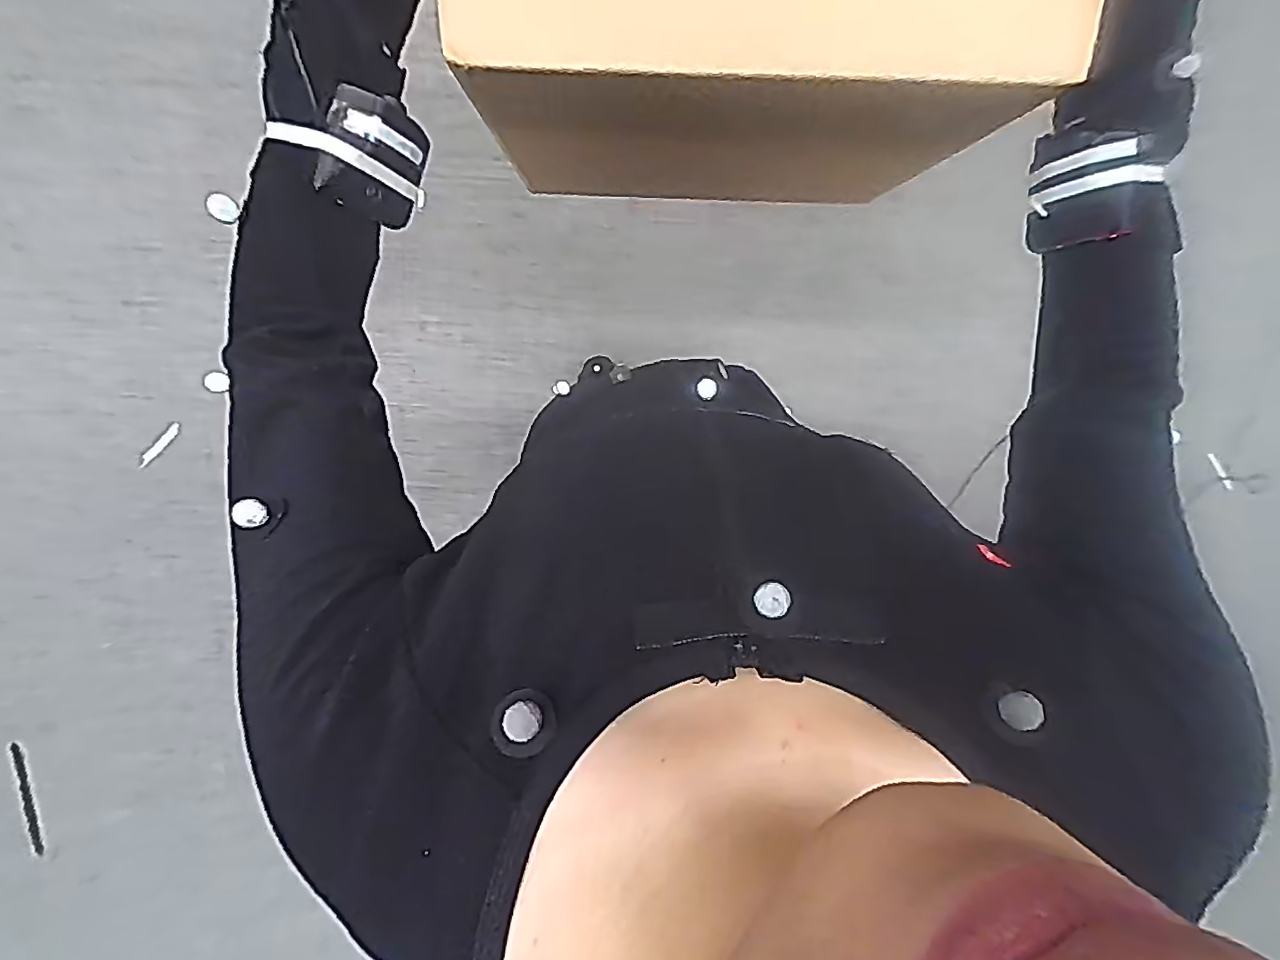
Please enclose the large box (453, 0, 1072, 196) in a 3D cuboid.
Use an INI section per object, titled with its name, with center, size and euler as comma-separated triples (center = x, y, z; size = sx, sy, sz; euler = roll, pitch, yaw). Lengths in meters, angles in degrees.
[large box]
center = 0.073, -0.450, 0.459
size = 0.408, 0.320, 0.320
euler = 0, 105, -2
